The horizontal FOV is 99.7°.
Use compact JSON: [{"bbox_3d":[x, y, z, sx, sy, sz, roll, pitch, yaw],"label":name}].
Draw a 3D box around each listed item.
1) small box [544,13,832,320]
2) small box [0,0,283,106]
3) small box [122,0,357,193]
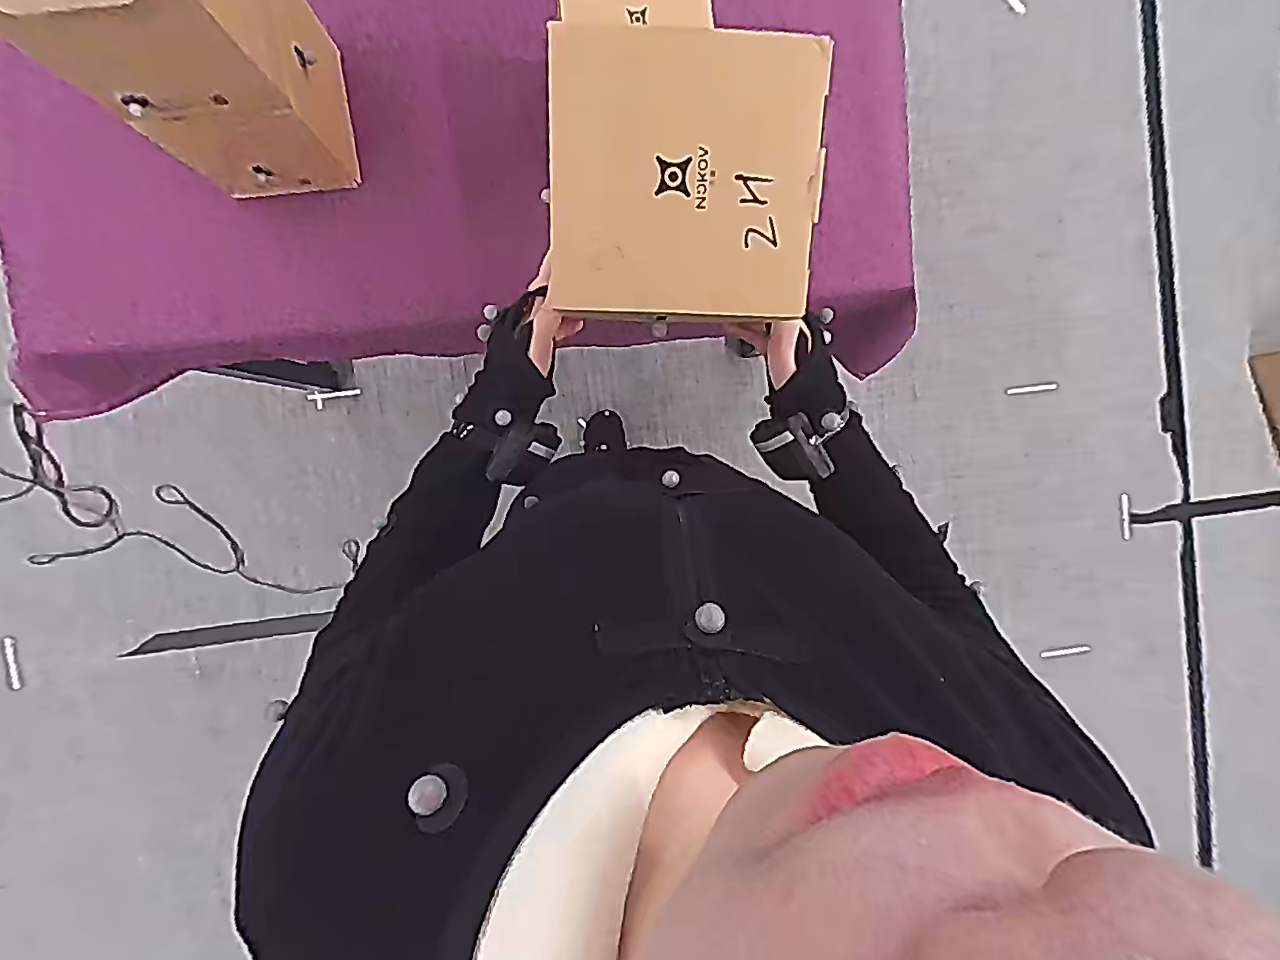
[{"bbox_3d":[0.024,-0.216,0.421,0.179,0.176,0.168,2,105,-3],"label":"small box"},{"bbox_3d":[-0.443,-0.453,0.461,0.168,0.176,0.179,-9,94,-4],"label":"small box"},{"bbox_3d":[-0.455,-0.464,0.624,0.168,0.176,0.179,-8,95,-4],"label":"small box"}]
